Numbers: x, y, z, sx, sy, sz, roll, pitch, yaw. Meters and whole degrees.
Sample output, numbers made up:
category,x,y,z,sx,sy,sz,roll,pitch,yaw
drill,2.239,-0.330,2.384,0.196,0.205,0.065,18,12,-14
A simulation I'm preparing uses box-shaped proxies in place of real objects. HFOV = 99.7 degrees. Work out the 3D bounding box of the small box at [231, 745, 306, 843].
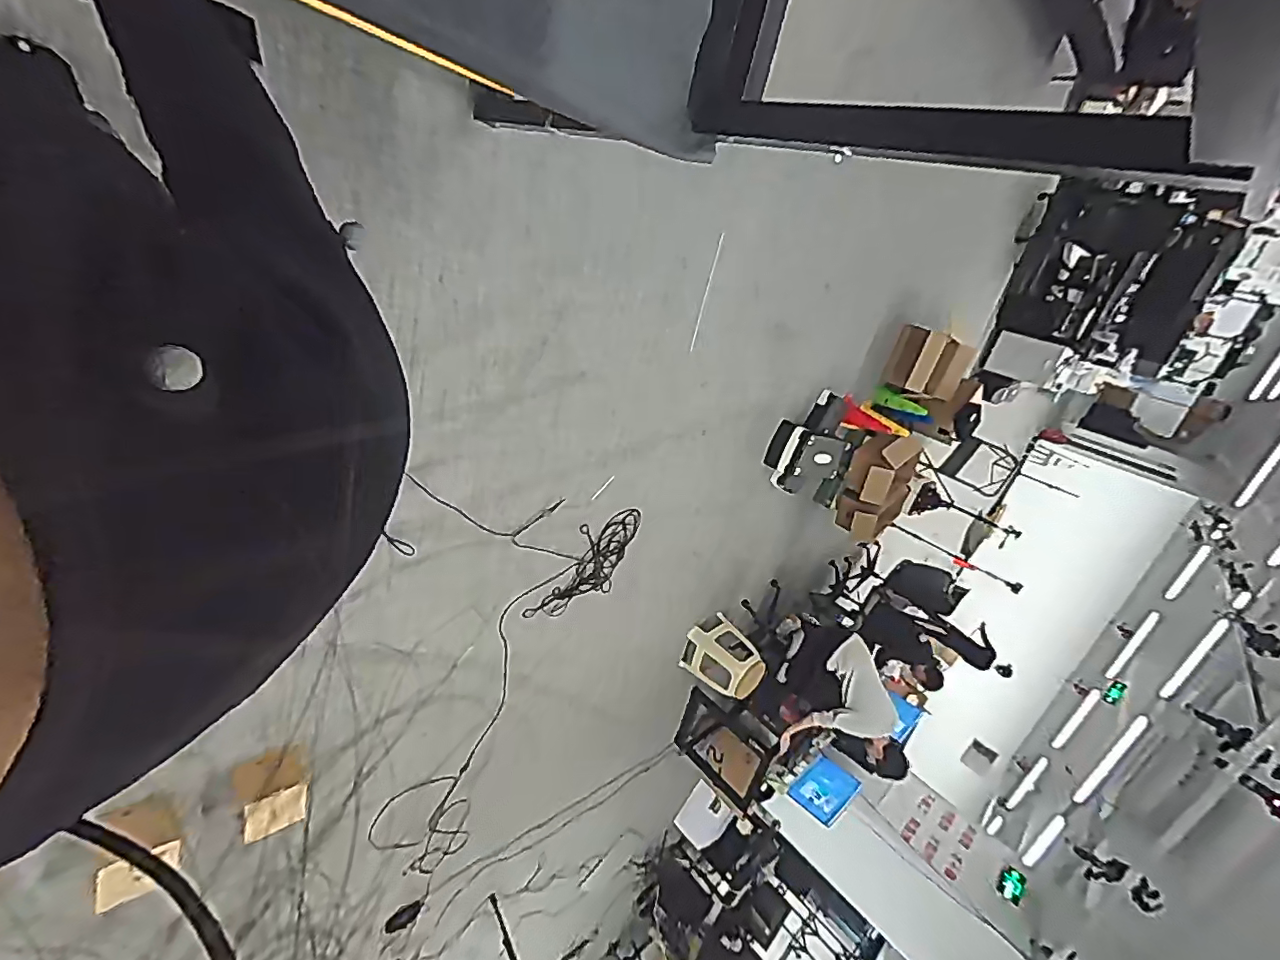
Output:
category,x,y,z,sx,sy,sz,roll,pitch,yaw
small box,-1.195,0.999,1.736,0.168,0.176,0.179,-7,121,-46

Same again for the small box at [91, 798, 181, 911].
category,x,y,z,sx,sy,sz,roll,pitch,yaw
small box,-1.413,1.030,1.512,0.168,0.176,0.179,1,116,-48
